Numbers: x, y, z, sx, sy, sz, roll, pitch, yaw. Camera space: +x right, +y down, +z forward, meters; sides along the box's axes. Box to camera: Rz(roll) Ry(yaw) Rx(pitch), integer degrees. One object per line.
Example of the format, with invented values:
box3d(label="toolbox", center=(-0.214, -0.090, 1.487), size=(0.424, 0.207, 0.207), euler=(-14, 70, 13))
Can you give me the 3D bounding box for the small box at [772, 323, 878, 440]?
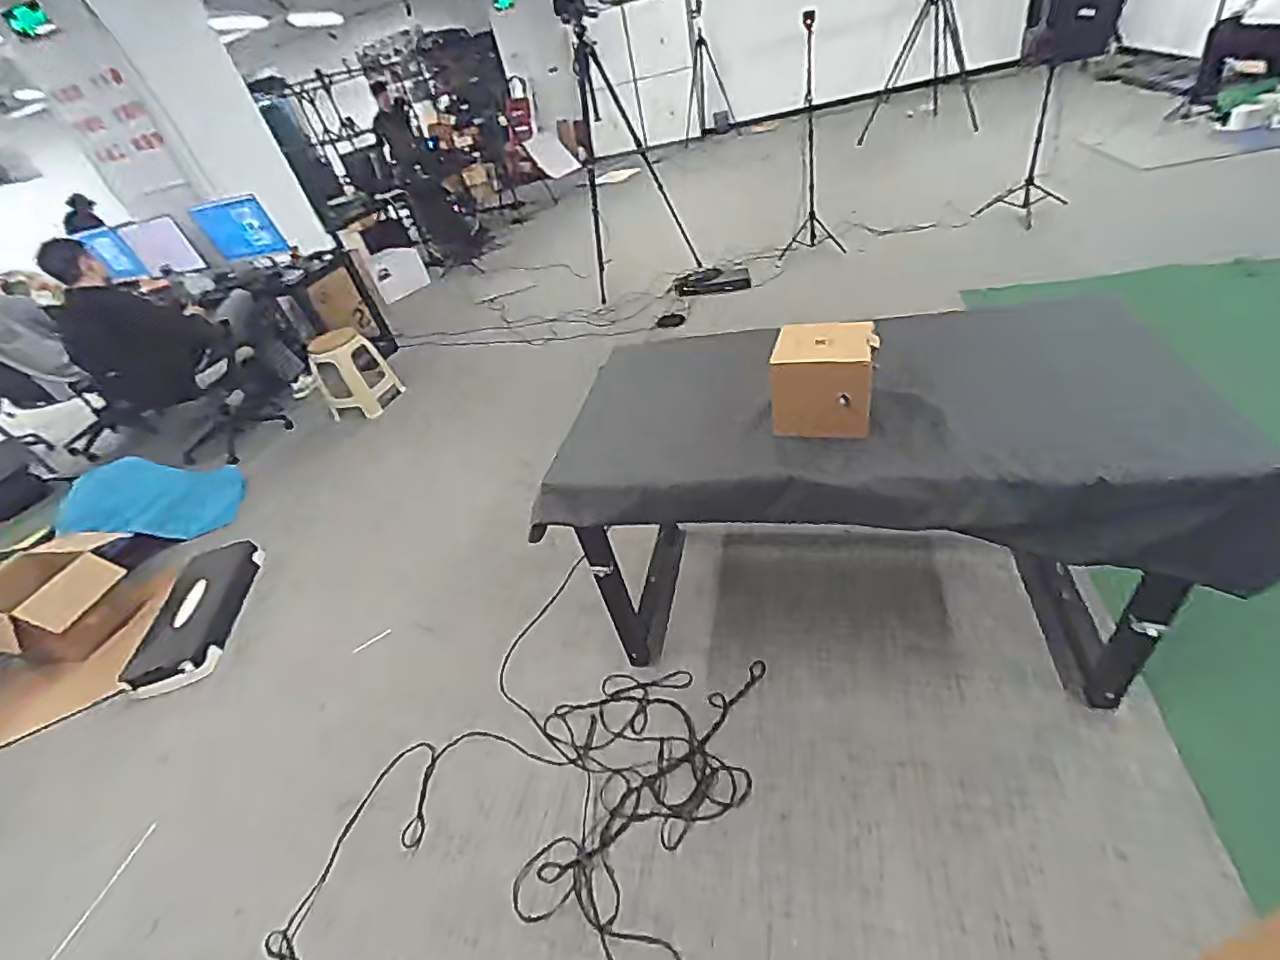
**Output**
box3d(label="small box", center=(0.365, -0.191, 1.062), size=(0.179, 0.176, 0.168), euler=(3, 40, 24))
